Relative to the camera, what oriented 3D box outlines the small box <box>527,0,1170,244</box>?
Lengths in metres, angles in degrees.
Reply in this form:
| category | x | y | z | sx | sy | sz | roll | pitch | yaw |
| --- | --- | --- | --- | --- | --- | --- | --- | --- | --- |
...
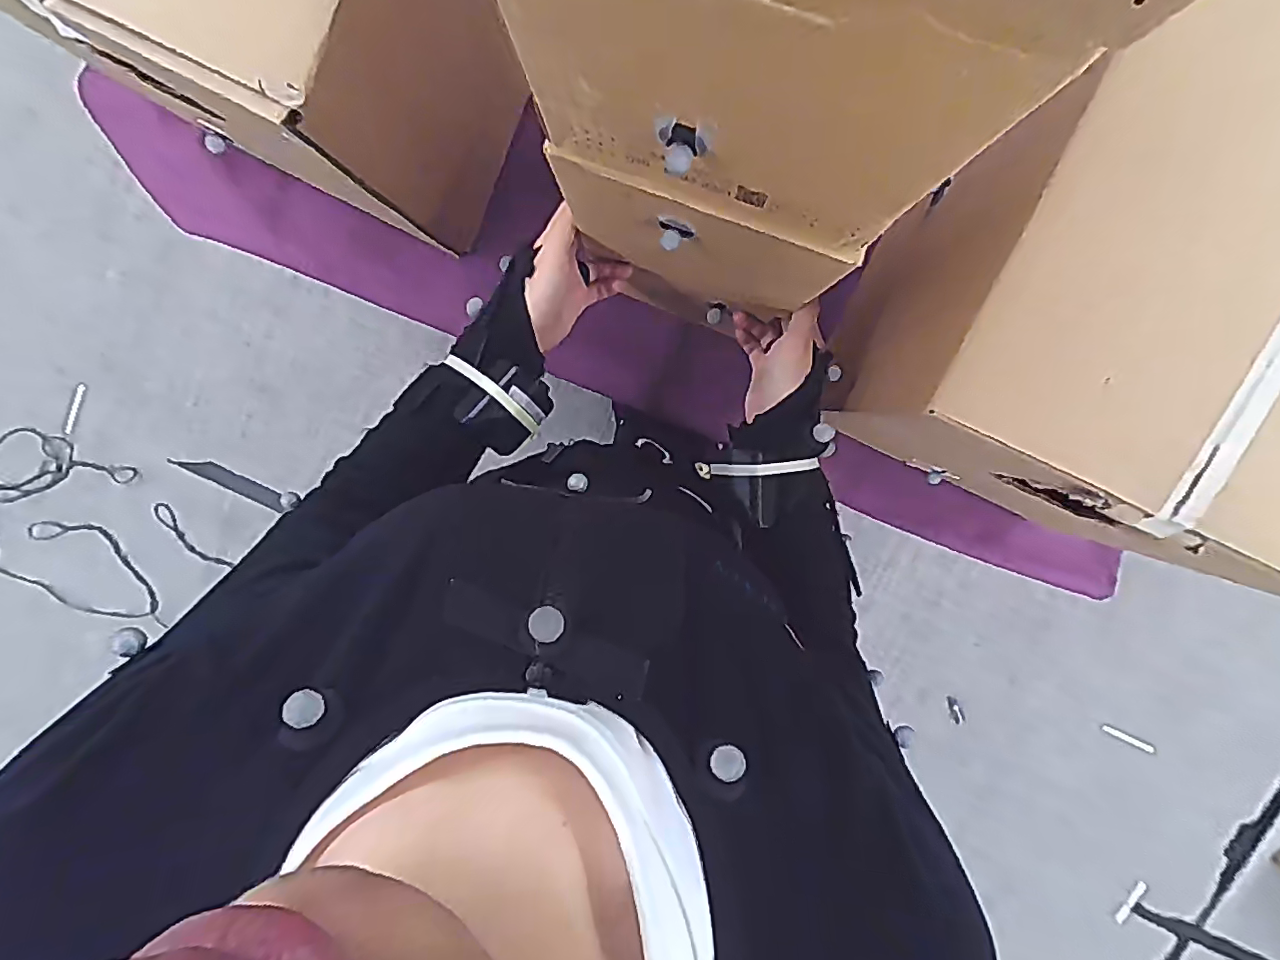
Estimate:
| category | x | y | z | sx | sy | sz | roll | pitch | yaw |
| --- | --- | --- | --- | --- | --- | --- | --- | --- | --- |
| small box | 0.059 | -0.209 | 0.178 | 0.168 | 0.176 | 0.179 | 18 | 98 | -1 |

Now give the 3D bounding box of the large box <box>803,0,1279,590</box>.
| category | x | y | z | sx | sy | sz | roll | pitch | yaw |
| --- | --- | --- | --- | --- | --- | --- | --- | --- | --- |
| large box | 0.389 | -0.171 | 0.442 | 0.320 | 0.320 | 0.408 | 24 | 97 | -2 |
